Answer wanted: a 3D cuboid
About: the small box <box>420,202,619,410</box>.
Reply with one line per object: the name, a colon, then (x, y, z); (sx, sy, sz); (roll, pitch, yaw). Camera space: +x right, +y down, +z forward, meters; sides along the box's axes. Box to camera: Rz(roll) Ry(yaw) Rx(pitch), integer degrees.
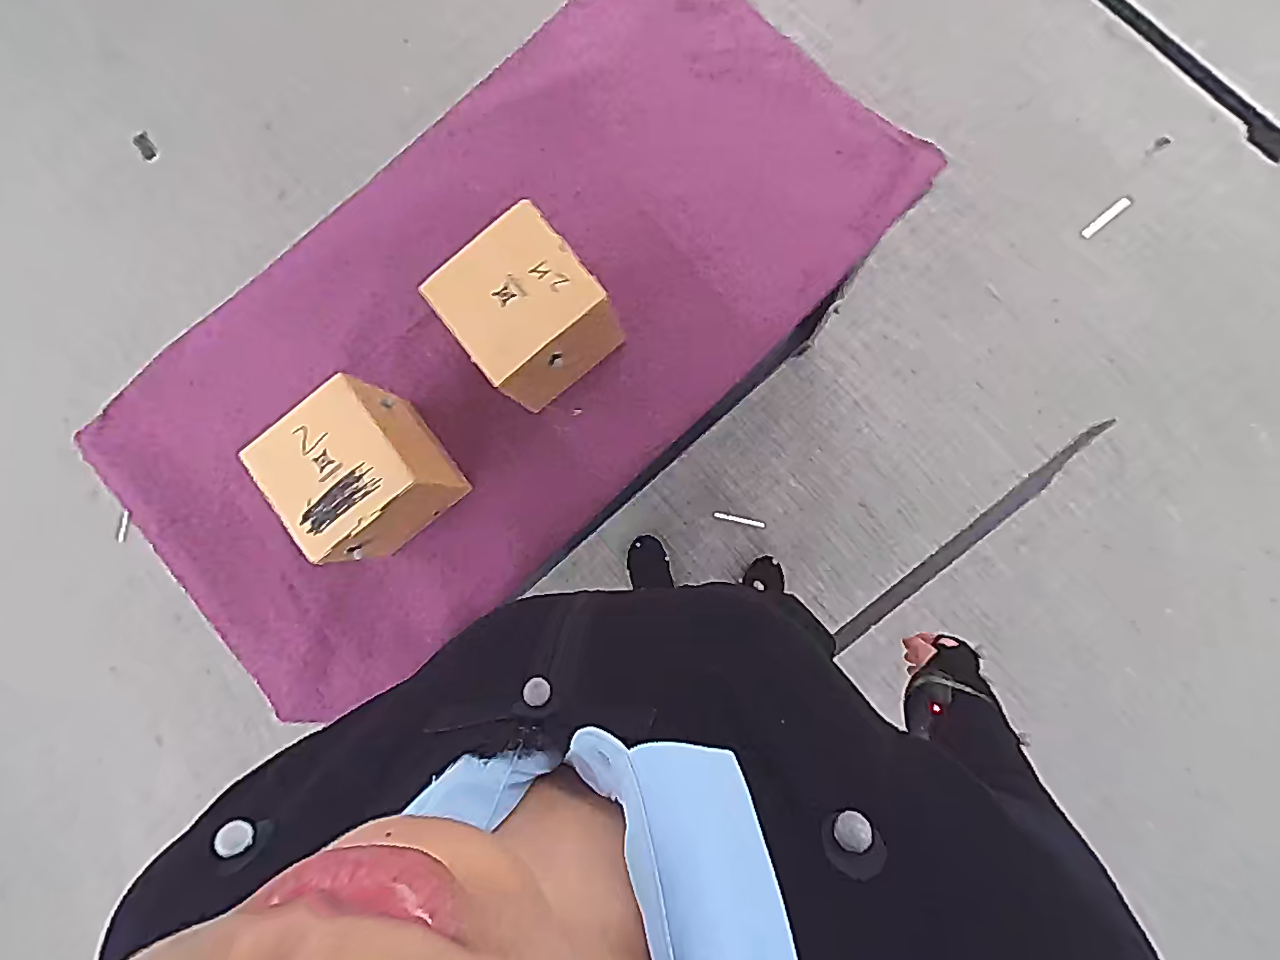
small box: (-0.148, -0.218, 0.730); (0.179, 0.176, 0.168); (-39, 84, 1)
